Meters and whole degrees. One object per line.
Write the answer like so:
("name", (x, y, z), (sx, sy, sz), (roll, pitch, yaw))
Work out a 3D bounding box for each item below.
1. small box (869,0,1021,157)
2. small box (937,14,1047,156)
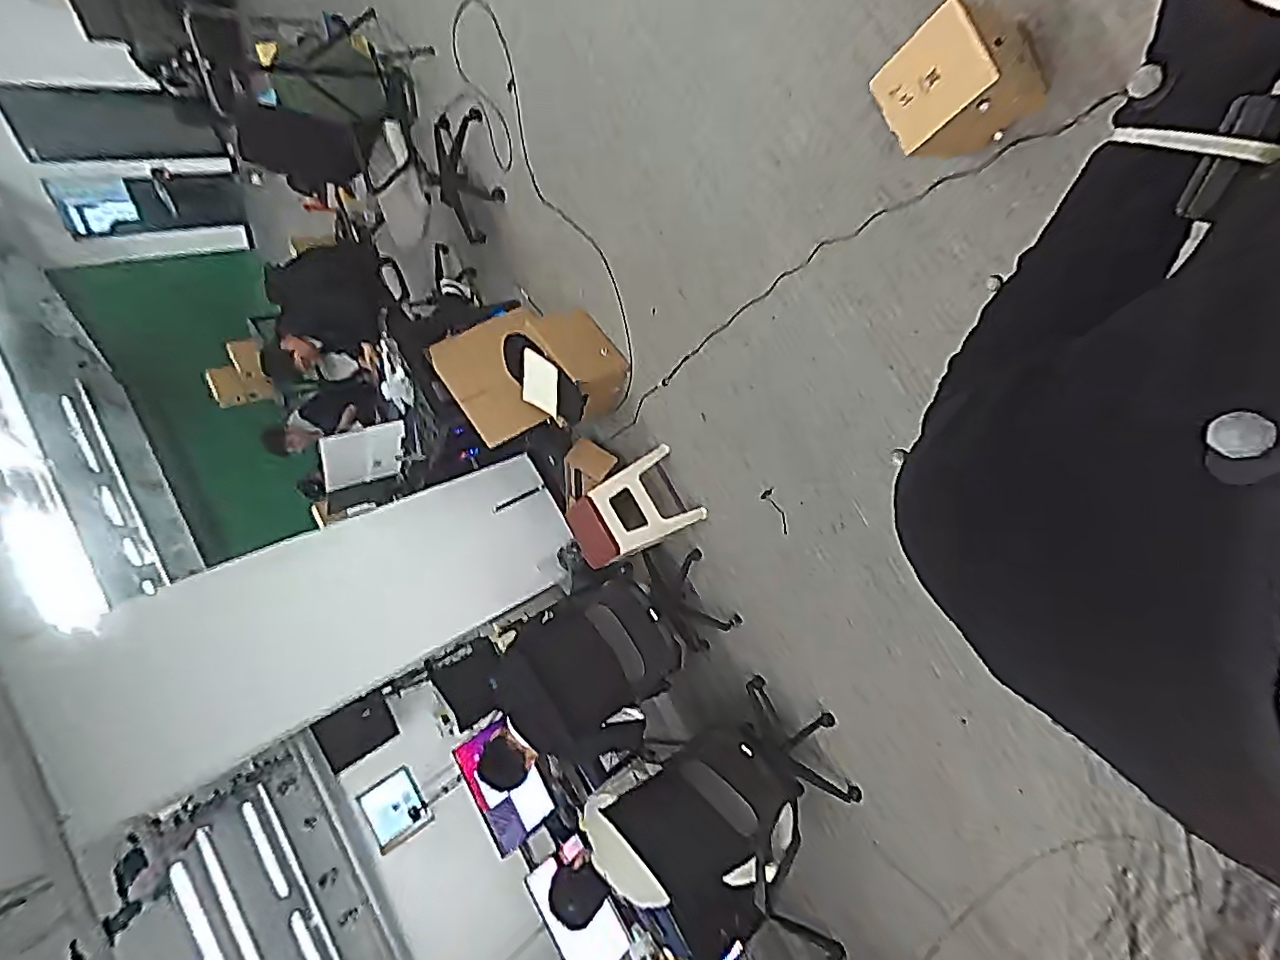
("small box", (0.581, -0.746, 1.020), (0.179, 0.176, 0.168), (-30, 85, 56))
("small box", (0.697, -0.805, 1.120), (0.168, 0.176, 0.179), (-24, 91, 56))
